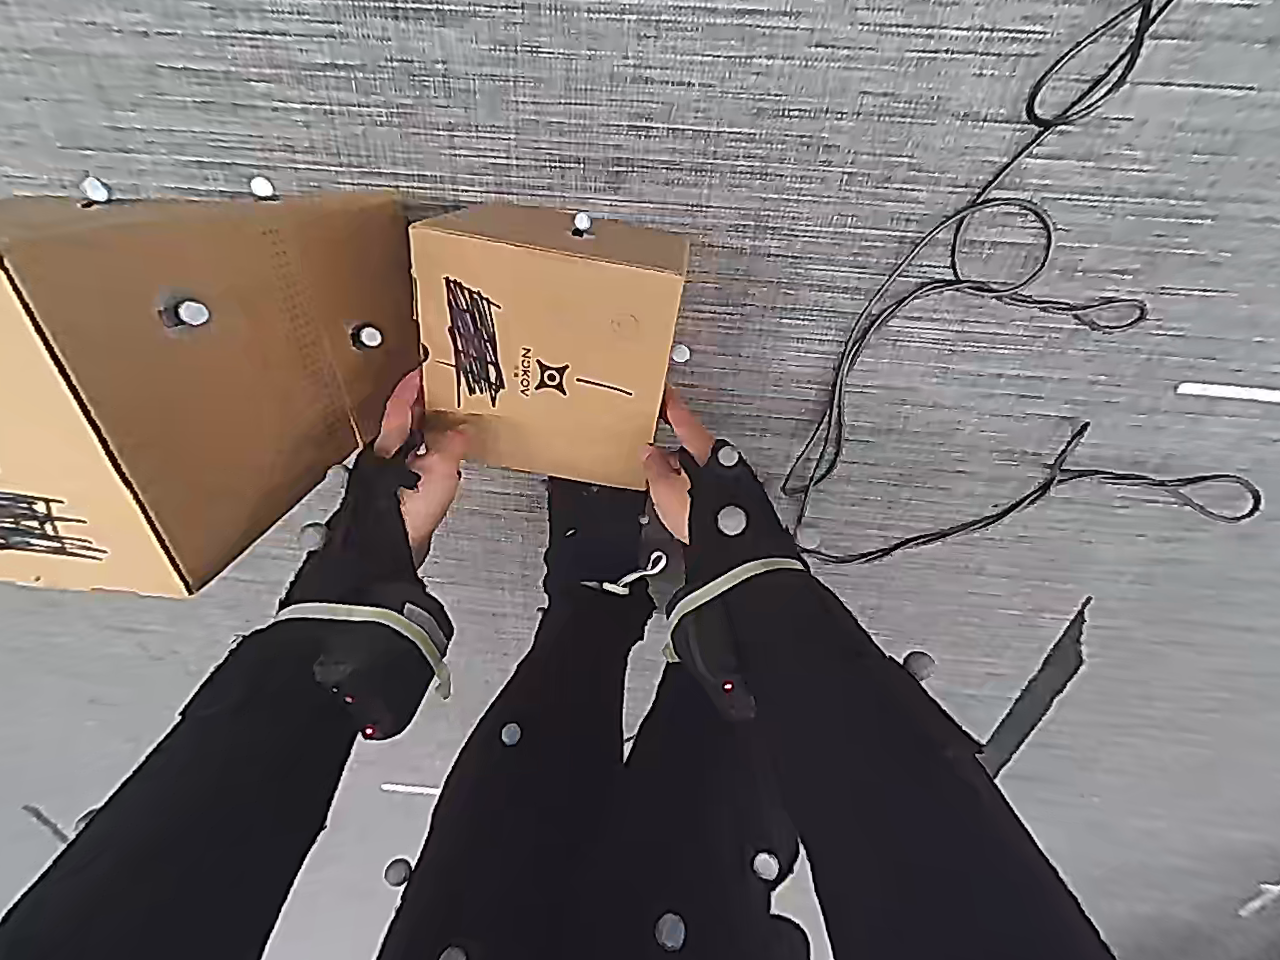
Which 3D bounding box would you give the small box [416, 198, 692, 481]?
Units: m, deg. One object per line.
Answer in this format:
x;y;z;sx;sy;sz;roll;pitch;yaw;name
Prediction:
-0.059;-0.124;0.442;0.179;0.176;0.168;10;122;-1;small box

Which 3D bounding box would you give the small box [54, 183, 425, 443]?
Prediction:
-0.291;-0.146;0.455;0.168;0.176;0.179;-1;122;6;small box
